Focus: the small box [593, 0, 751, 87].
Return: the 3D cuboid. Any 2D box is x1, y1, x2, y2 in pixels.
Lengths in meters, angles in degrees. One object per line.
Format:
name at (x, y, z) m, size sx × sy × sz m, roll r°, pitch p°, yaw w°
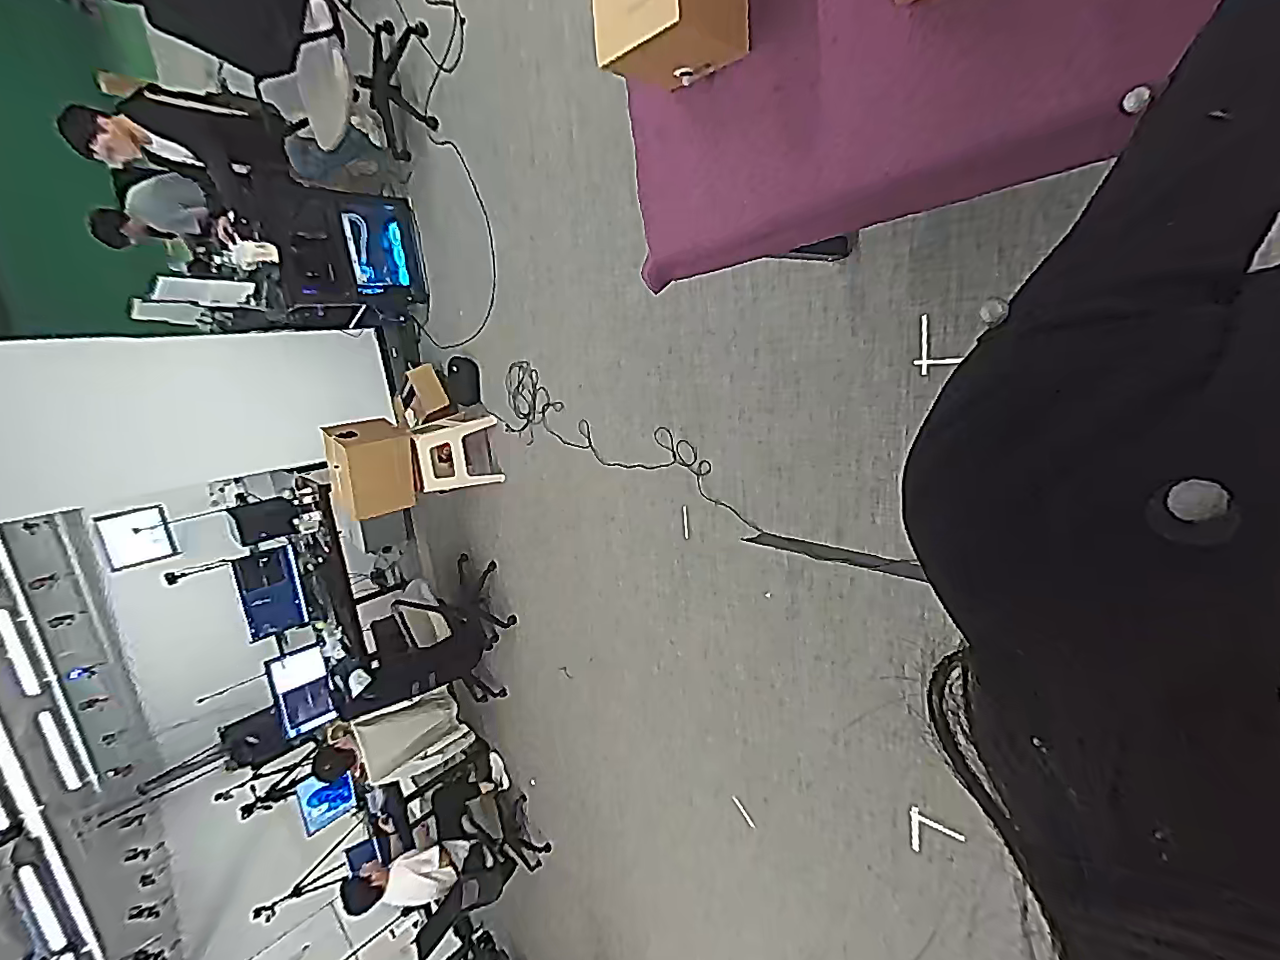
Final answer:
small box at (0.047, -0.716, 0.787) m, size 0.168 × 0.176 × 0.179 m, roll 10°, pitch 113°, yaw 45°
